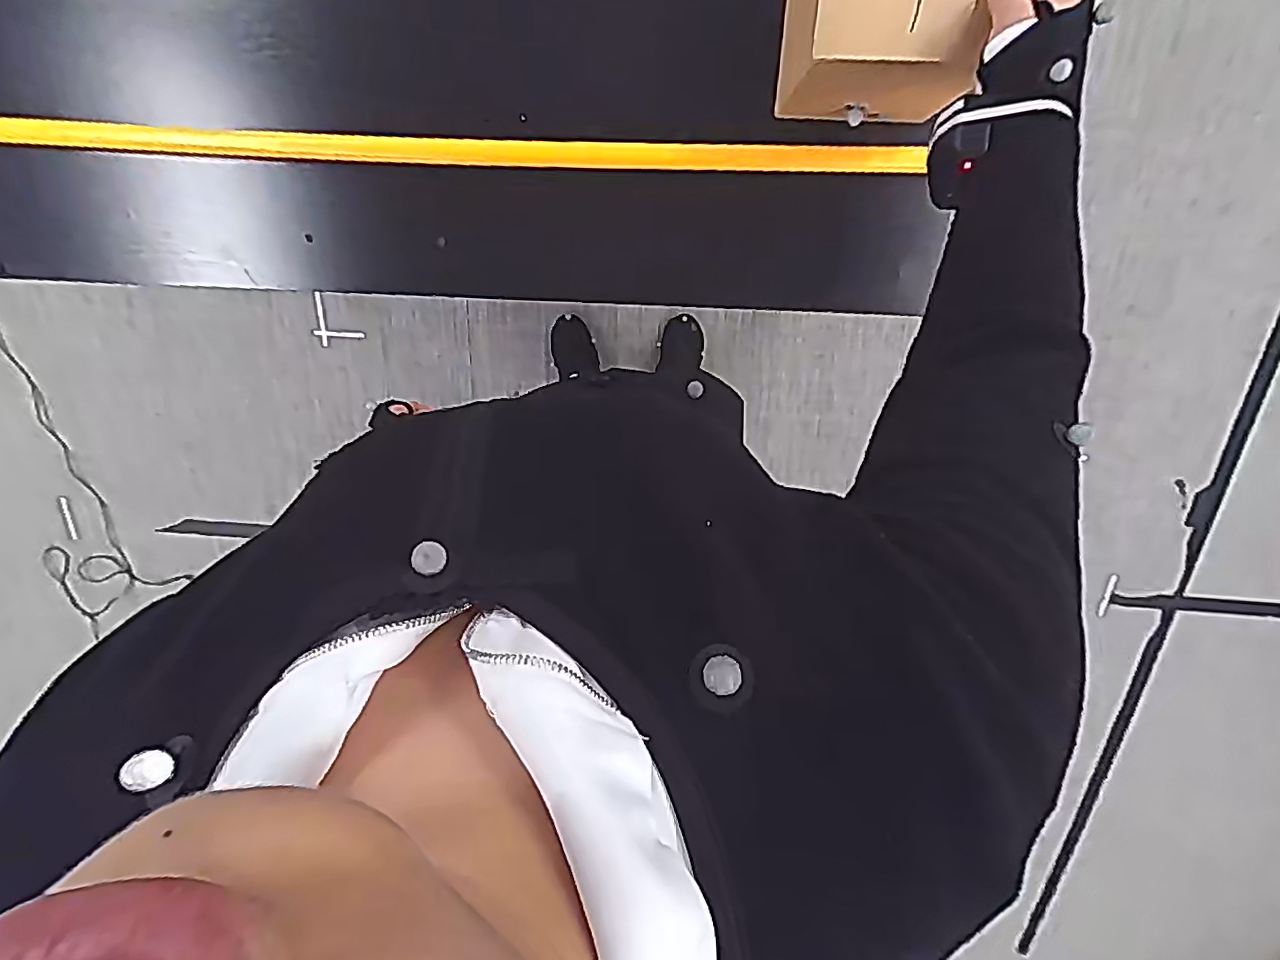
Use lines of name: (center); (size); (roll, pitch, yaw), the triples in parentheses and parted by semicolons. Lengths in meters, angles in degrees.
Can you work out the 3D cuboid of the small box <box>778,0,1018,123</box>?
small box: (0.234, -0.465, 0.507); (0.168, 0.176, 0.179); (4, 110, 2)
